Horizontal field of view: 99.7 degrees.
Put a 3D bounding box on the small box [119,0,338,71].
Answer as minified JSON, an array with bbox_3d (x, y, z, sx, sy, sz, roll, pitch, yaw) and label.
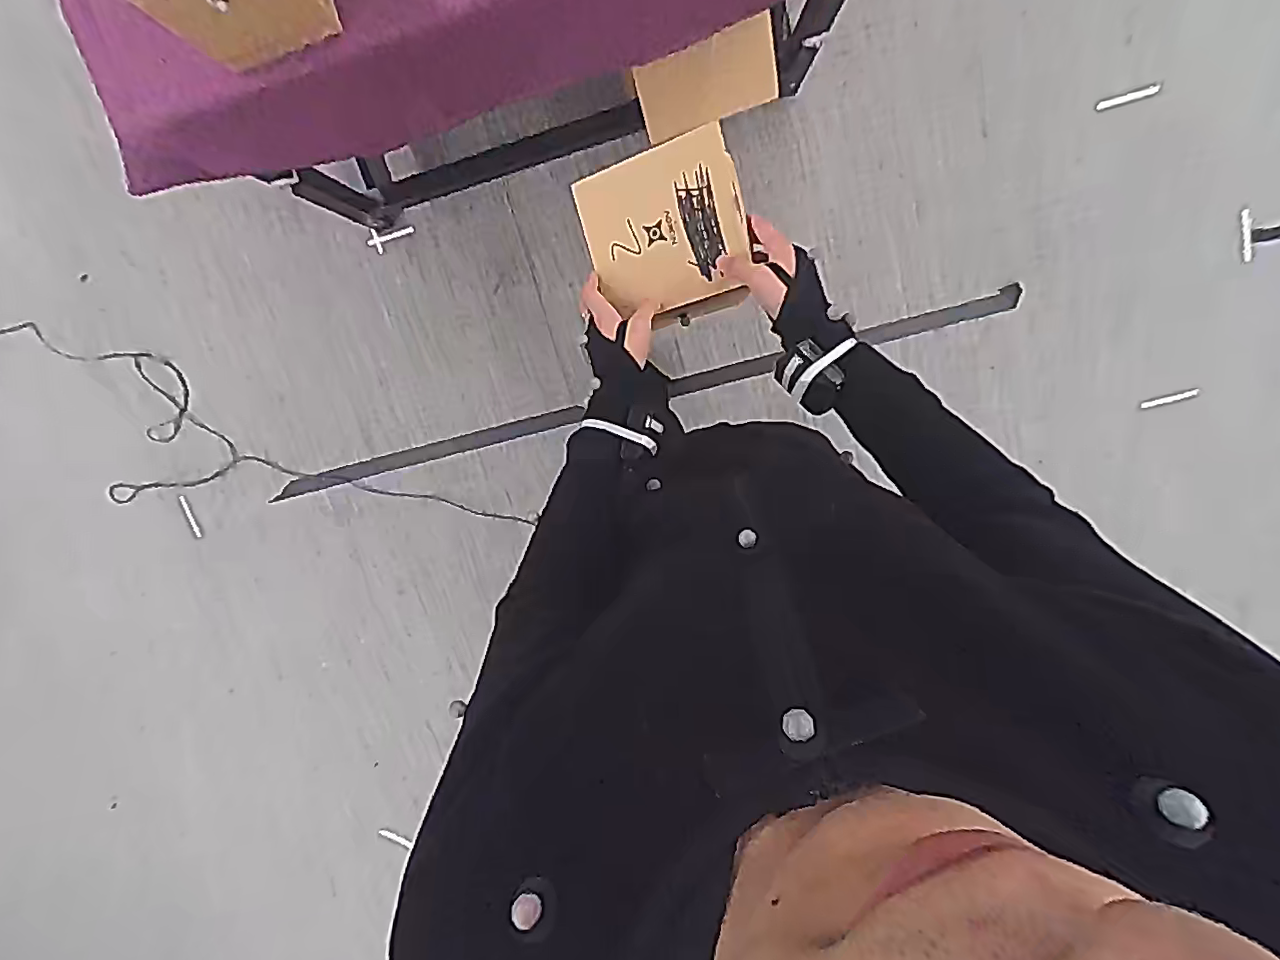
[{"bbox_3d":[-0.518,-0.647,0.658,0.179,0.176,0.168,-16,102,4],"label":"small box"}]
